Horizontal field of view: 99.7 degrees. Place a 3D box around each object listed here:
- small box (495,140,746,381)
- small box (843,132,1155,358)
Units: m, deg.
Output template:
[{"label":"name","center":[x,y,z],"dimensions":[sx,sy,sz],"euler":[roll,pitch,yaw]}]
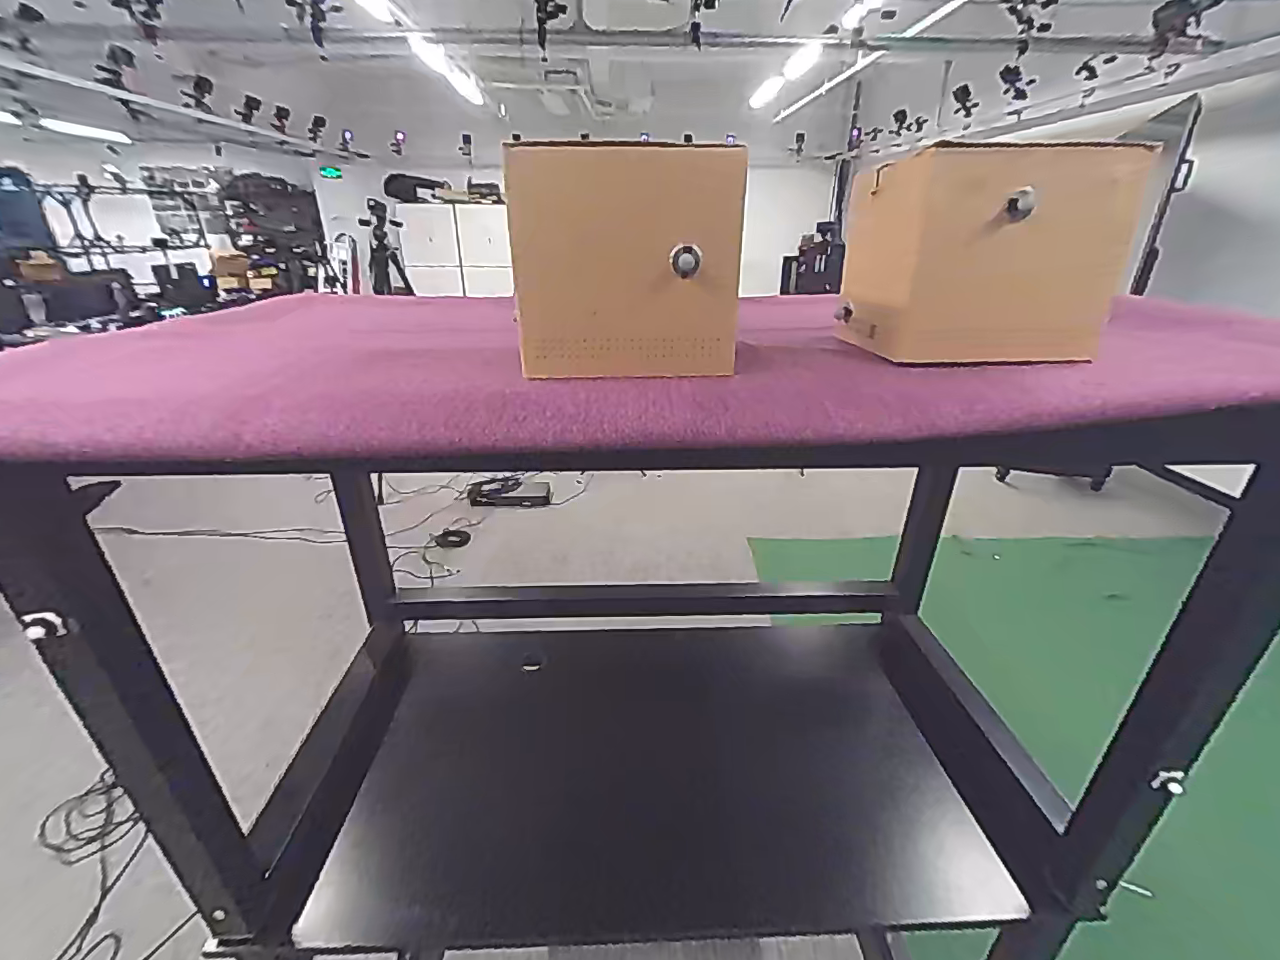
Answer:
[{"label":"small box","center":[-0.016,-0.190,0.476],"dimensions":[0.179,0.176,0.168],"euler":[-3,25,-3]},{"label":"small box","center":[0.305,-0.211,0.509],"dimensions":[0.179,0.176,0.168],"euler":[-1,24,-1]}]
